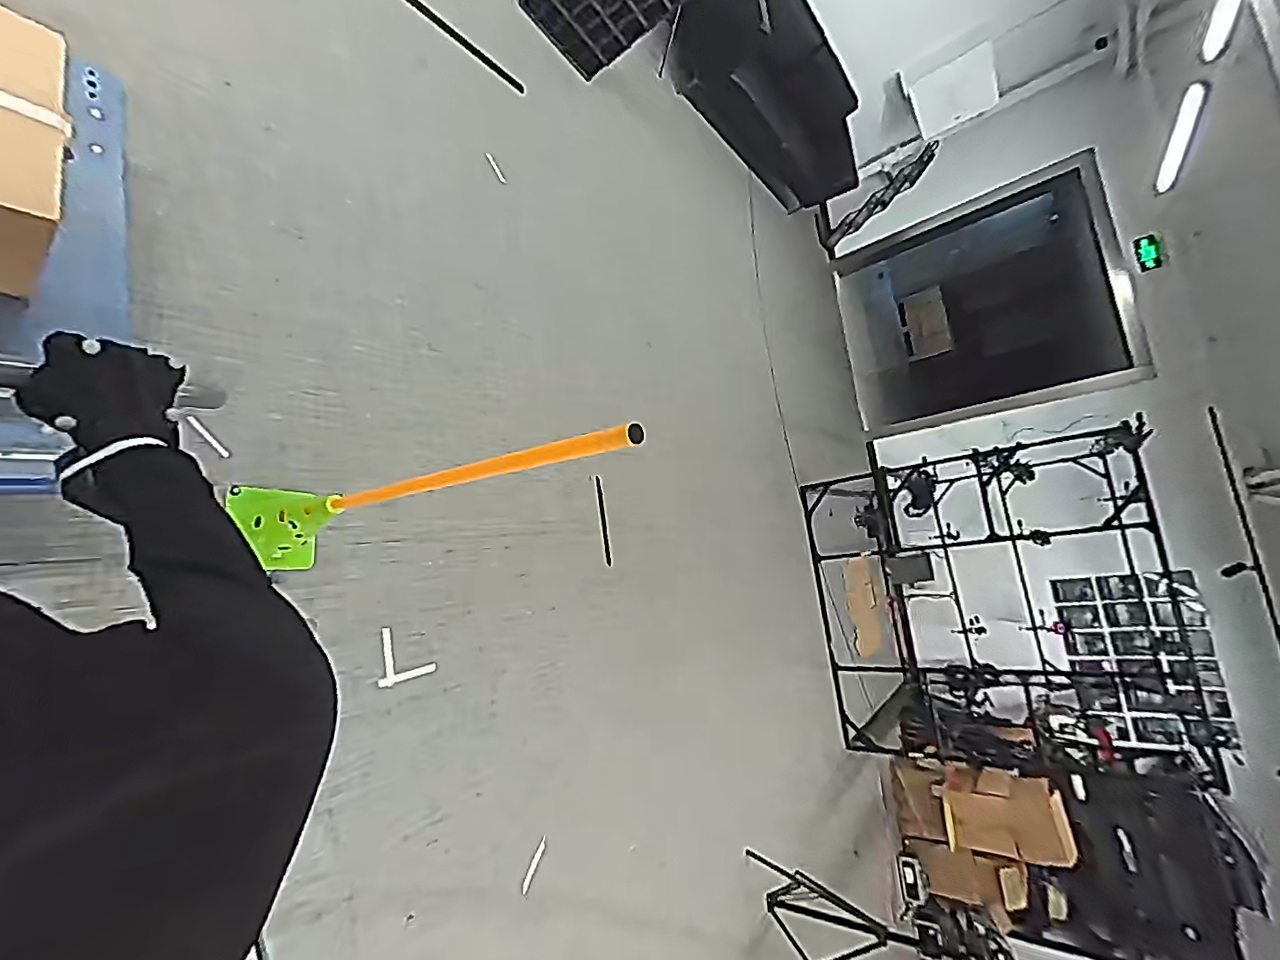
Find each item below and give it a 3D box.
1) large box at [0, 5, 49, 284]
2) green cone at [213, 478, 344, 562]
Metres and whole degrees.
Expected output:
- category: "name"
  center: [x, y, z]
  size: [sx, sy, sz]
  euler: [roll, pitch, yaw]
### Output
- category: "large box"
  center: [-1.114, -0.517, 0.731]
  size: [0.408, 0.320, 0.320]
  euler: [4, 77, -53]
- category: "green cone"
  center: [-0.789, 0.069, 1.234]
  size: [0.202, 0.368, 0.200]
  euler: [11, 70, -53]
